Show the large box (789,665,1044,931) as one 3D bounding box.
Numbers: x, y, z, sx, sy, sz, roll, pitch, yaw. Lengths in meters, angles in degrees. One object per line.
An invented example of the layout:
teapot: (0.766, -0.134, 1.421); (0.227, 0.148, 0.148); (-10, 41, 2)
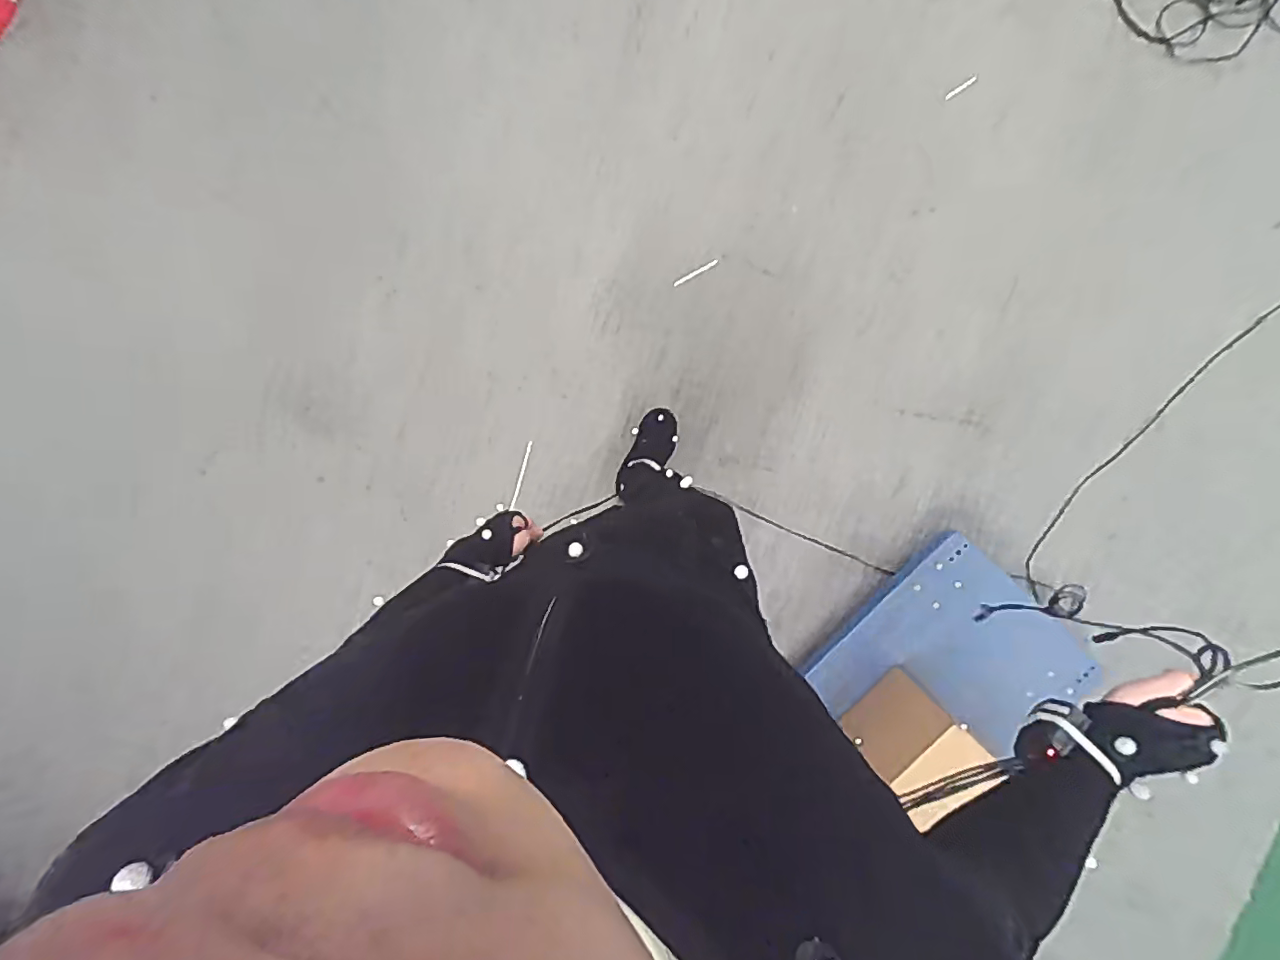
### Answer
large box: (0.643, 0.751, 1.333); (0.320, 0.320, 0.408); (44, 94, -2)
